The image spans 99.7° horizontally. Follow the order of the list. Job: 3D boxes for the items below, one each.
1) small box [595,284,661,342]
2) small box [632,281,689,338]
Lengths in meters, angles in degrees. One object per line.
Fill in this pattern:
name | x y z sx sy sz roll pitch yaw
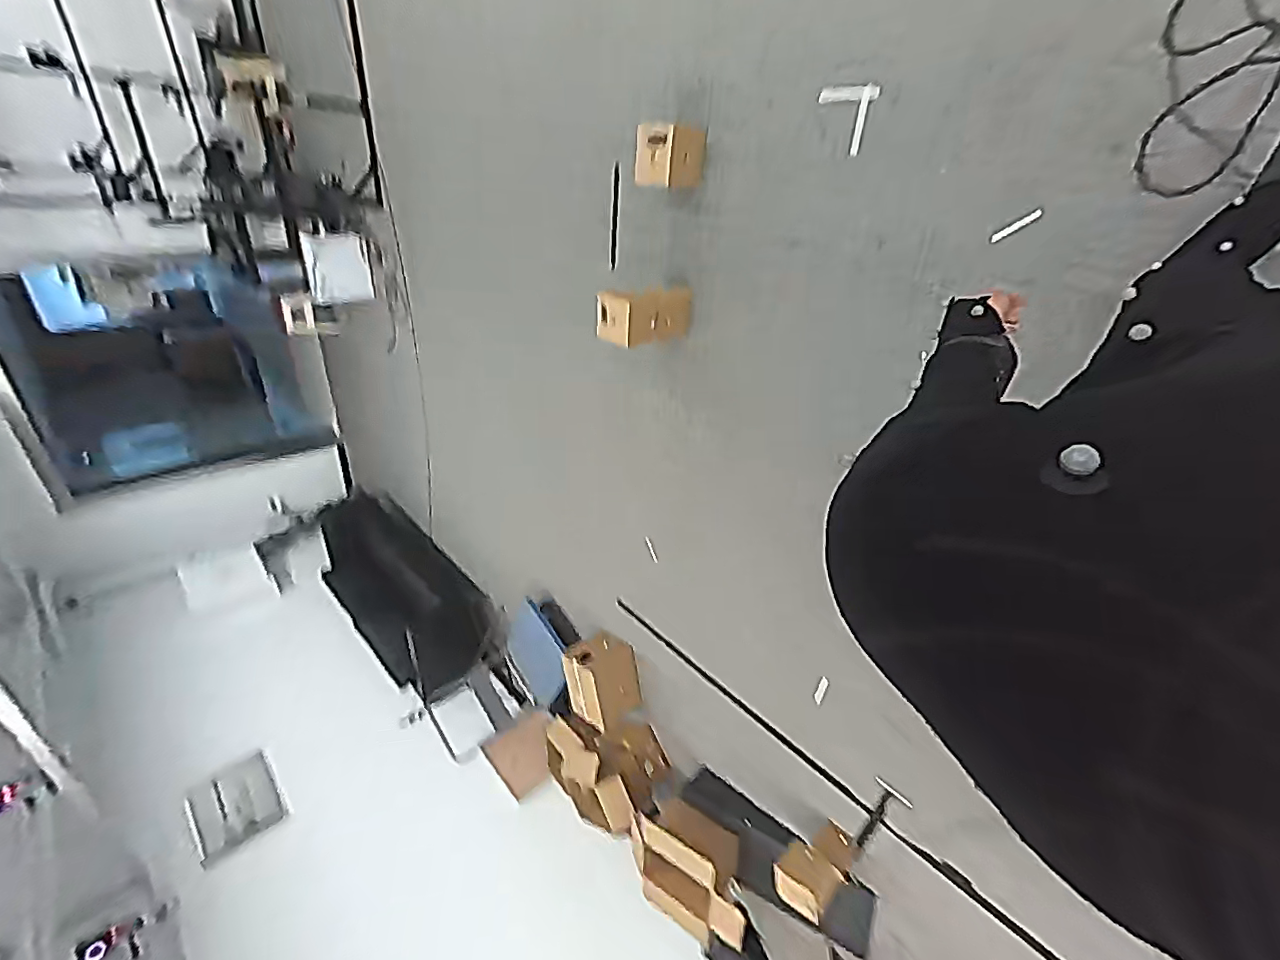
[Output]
small box | -0.047 -0.625 2.008 0.179 0.176 0.168 30 130 35
small box | 0.072 -0.671 2.111 0.168 0.176 0.179 30 130 36
